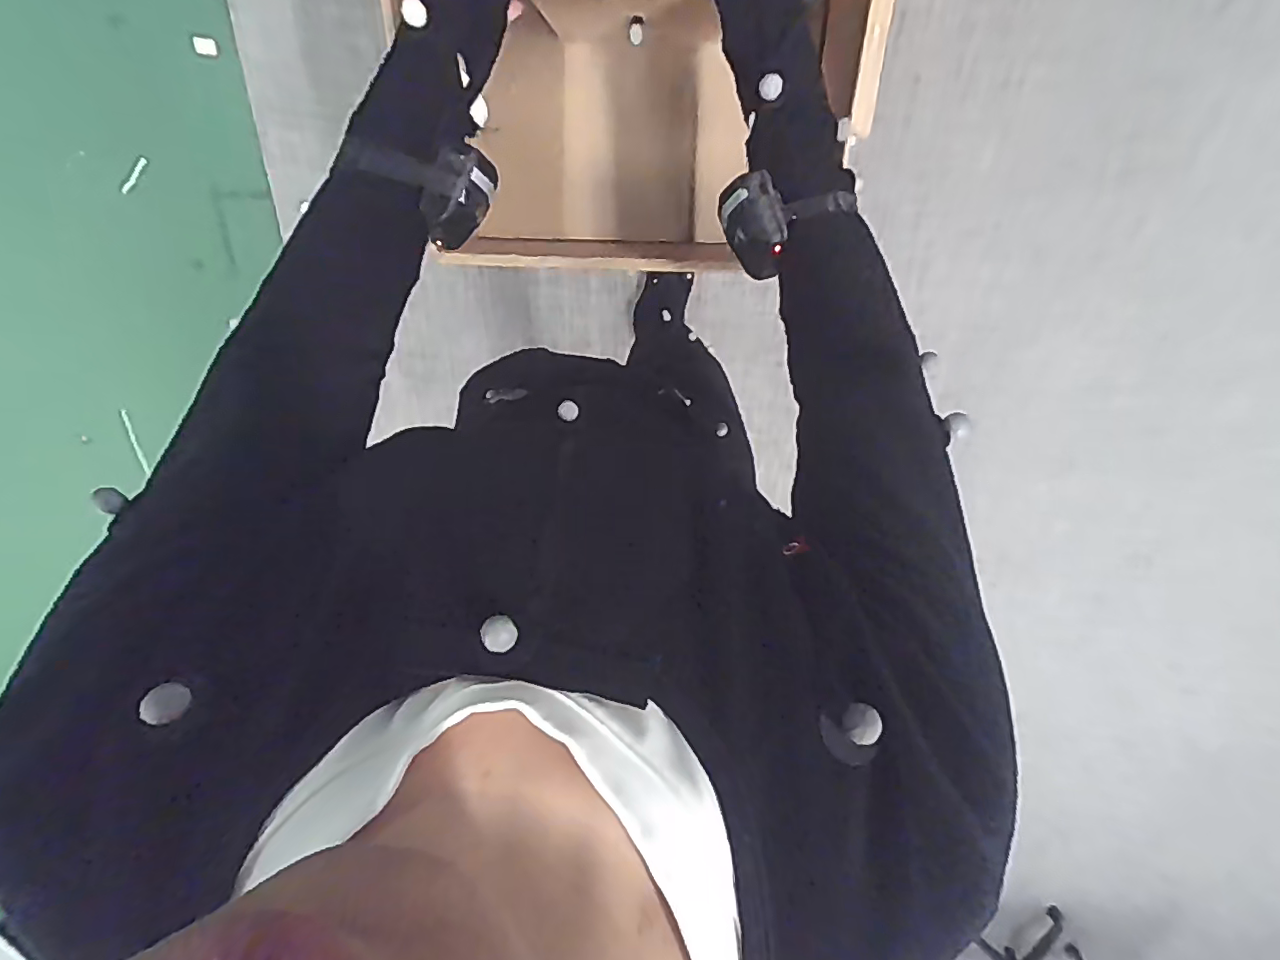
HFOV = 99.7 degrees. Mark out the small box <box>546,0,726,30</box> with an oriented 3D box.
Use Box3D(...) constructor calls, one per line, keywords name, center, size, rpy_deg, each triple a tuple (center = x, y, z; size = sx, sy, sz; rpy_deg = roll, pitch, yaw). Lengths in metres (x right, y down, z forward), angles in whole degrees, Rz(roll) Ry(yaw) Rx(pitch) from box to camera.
Box3D(name="small box", center=(-0.002, -0.488, 0.432), size=(0.168, 0.176, 0.179), rpy_deg=(3, 119, 2))
